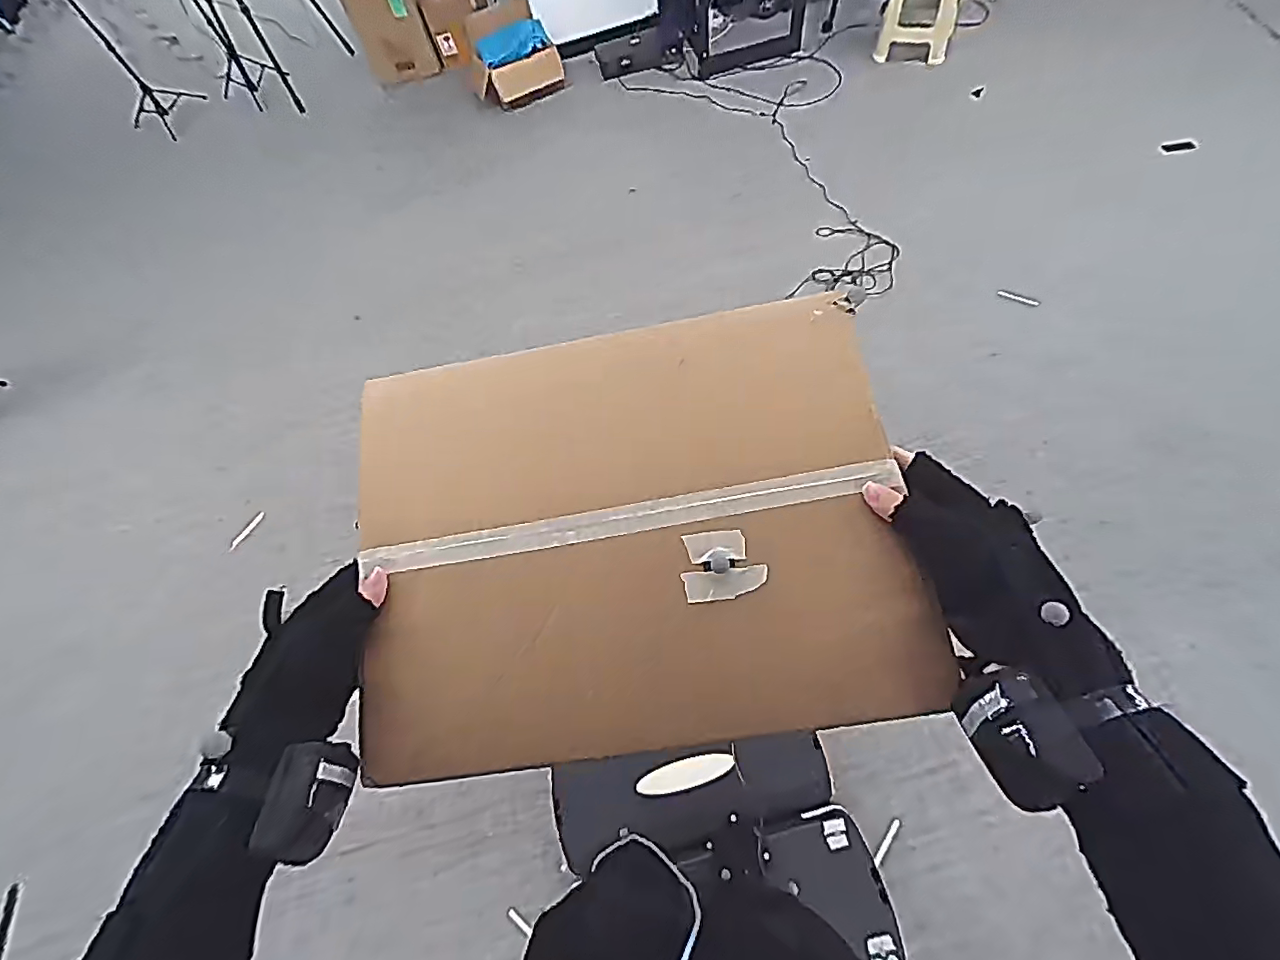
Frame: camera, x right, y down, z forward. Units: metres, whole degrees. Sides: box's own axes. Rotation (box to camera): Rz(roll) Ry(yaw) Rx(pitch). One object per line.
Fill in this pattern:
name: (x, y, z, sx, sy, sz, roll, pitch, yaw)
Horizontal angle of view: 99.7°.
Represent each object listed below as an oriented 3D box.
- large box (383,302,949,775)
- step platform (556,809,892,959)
large box: (0.007, 0.073, 0.557, 0.408, 0.320, 0.320, -10, 74, 4)
step platform: (0.166, 0.958, 1.164, 0.684, 0.204, 0.286, -18, 60, 1)
